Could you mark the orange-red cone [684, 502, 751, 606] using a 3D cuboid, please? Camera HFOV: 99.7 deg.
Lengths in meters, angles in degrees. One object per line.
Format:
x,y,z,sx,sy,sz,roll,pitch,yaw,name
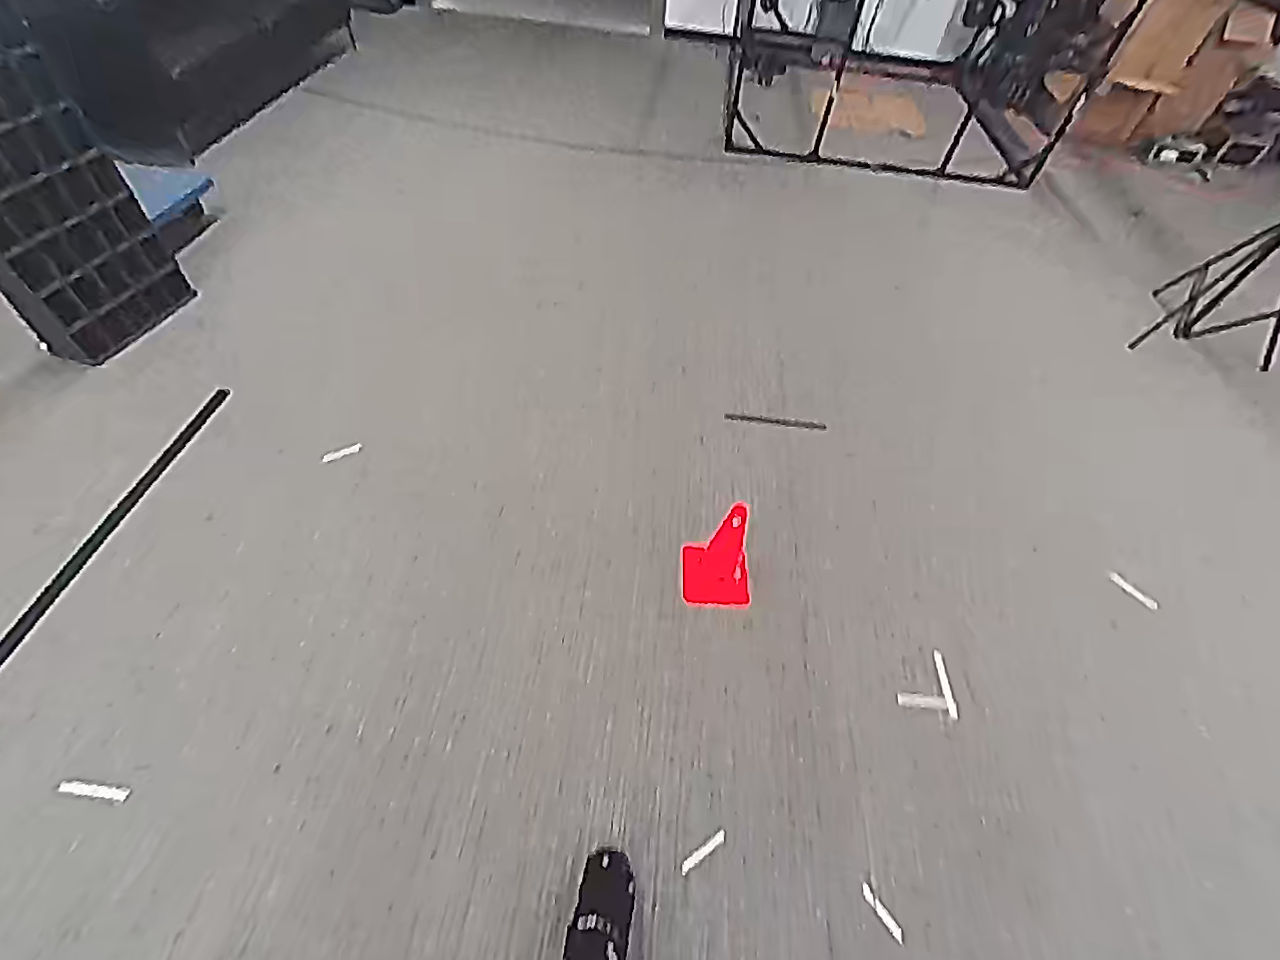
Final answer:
0.240,0.179,1.489,0.199,0.360,0.198,4,51,-1,orange-red cone
